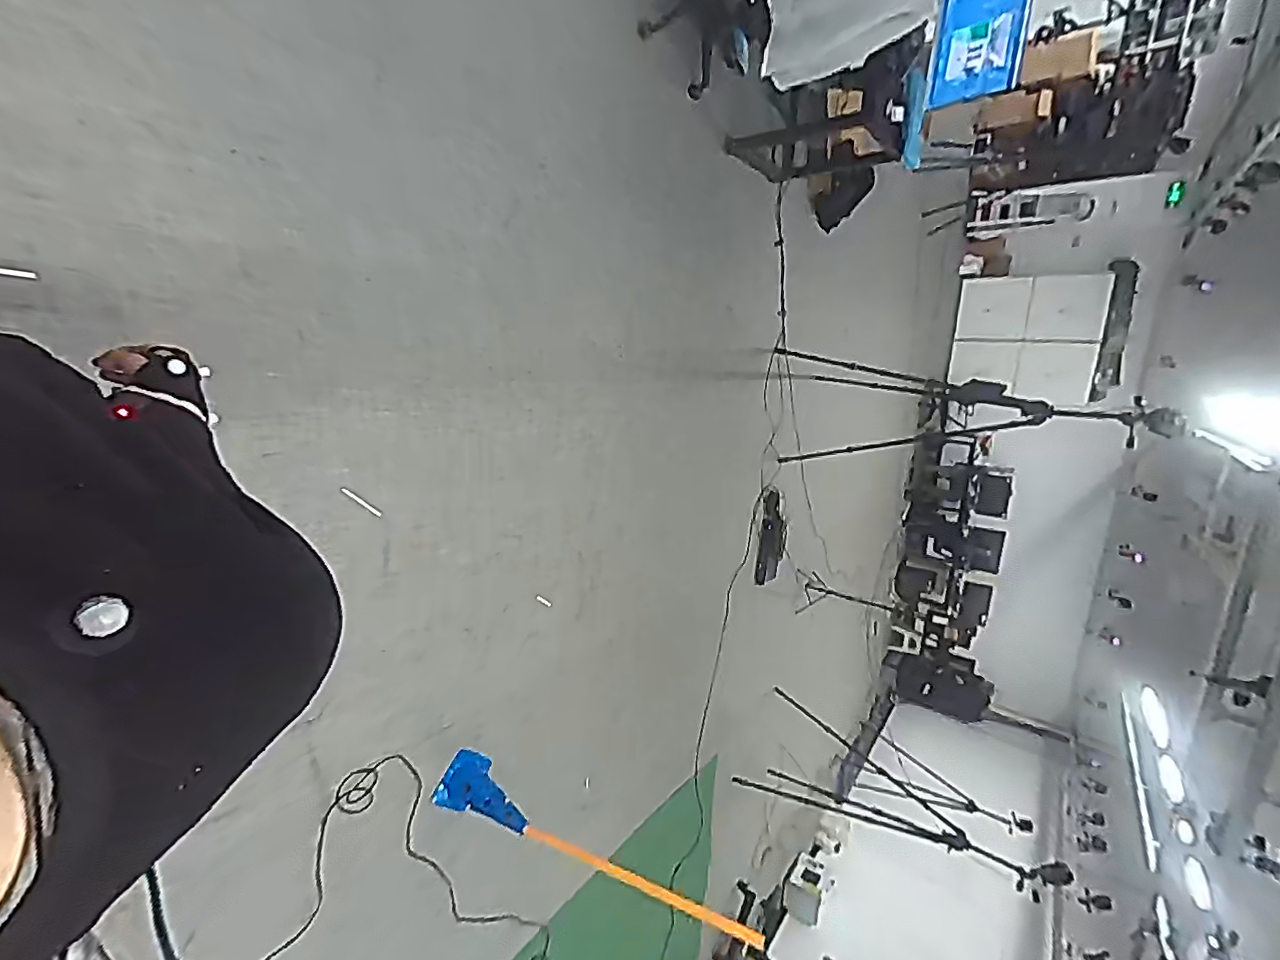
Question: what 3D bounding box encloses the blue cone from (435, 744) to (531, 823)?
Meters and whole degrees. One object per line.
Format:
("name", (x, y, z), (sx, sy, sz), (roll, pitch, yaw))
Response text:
("blue cone", (-0.534, 1.115, 1.926), (0.193, 0.380, 0.192), (-62, 140, -24))
